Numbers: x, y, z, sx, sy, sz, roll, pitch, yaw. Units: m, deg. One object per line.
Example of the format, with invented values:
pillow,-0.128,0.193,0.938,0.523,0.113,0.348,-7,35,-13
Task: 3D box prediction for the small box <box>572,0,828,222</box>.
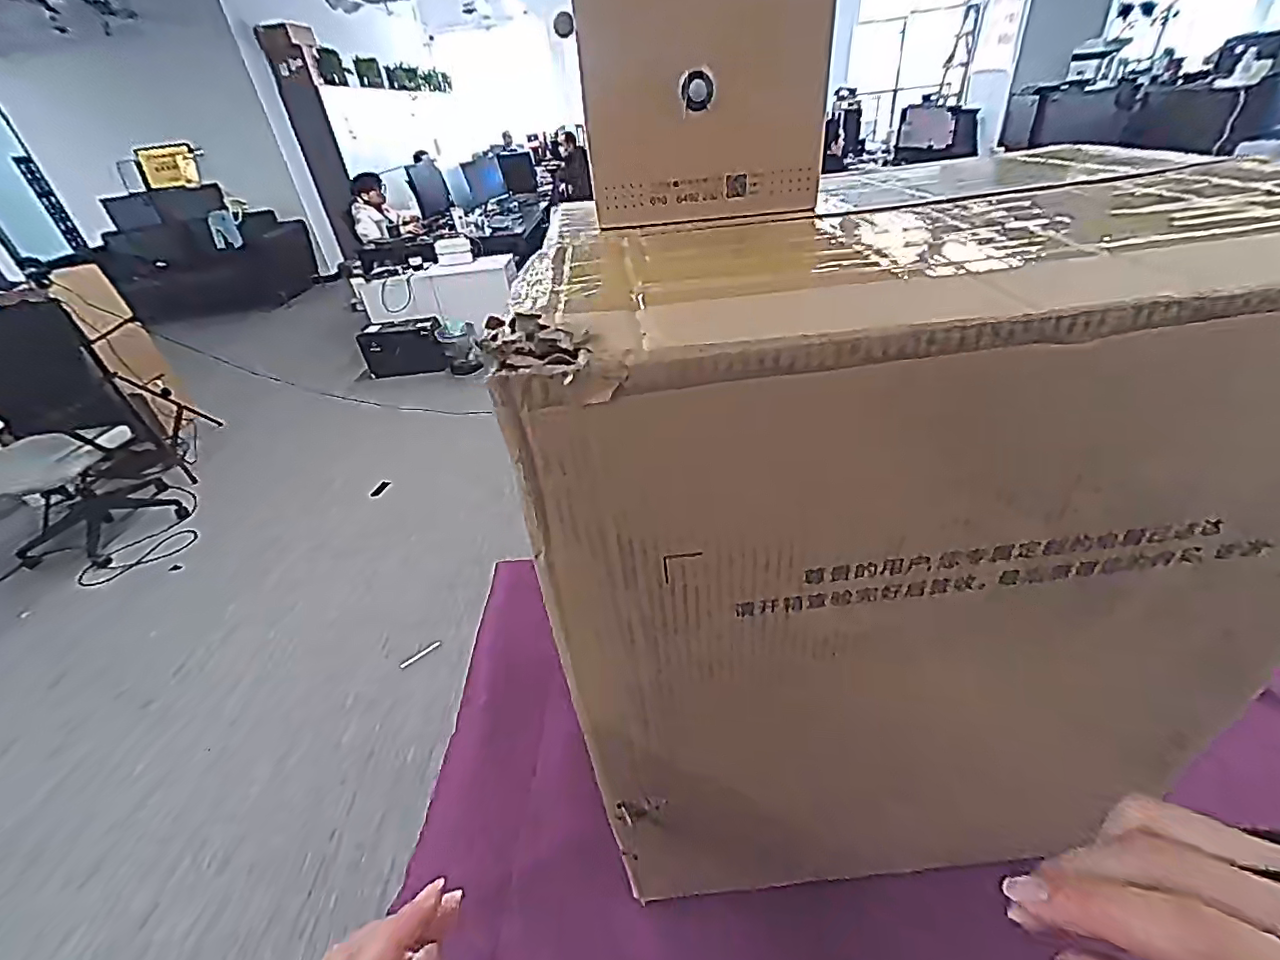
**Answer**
small box,0.044,-0.310,0.429,0.168,0.176,0.179,-4,35,2
